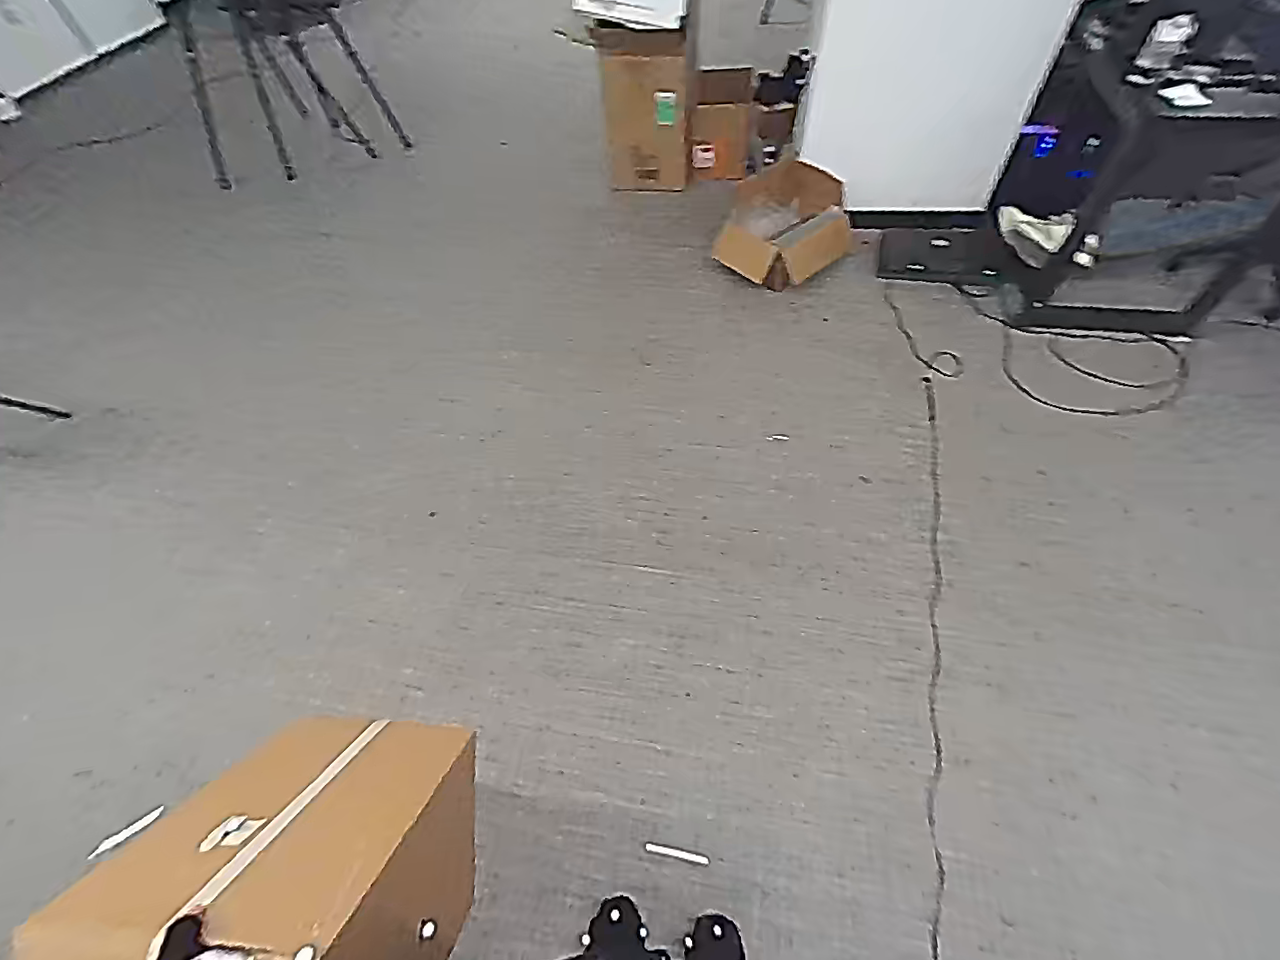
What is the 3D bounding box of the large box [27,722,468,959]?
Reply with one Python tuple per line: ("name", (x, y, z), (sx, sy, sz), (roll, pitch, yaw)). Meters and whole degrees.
("large box", (-0.452, 0.591, 0.735), (0.320, 0.408, 0.320), (1, 96, 4))
